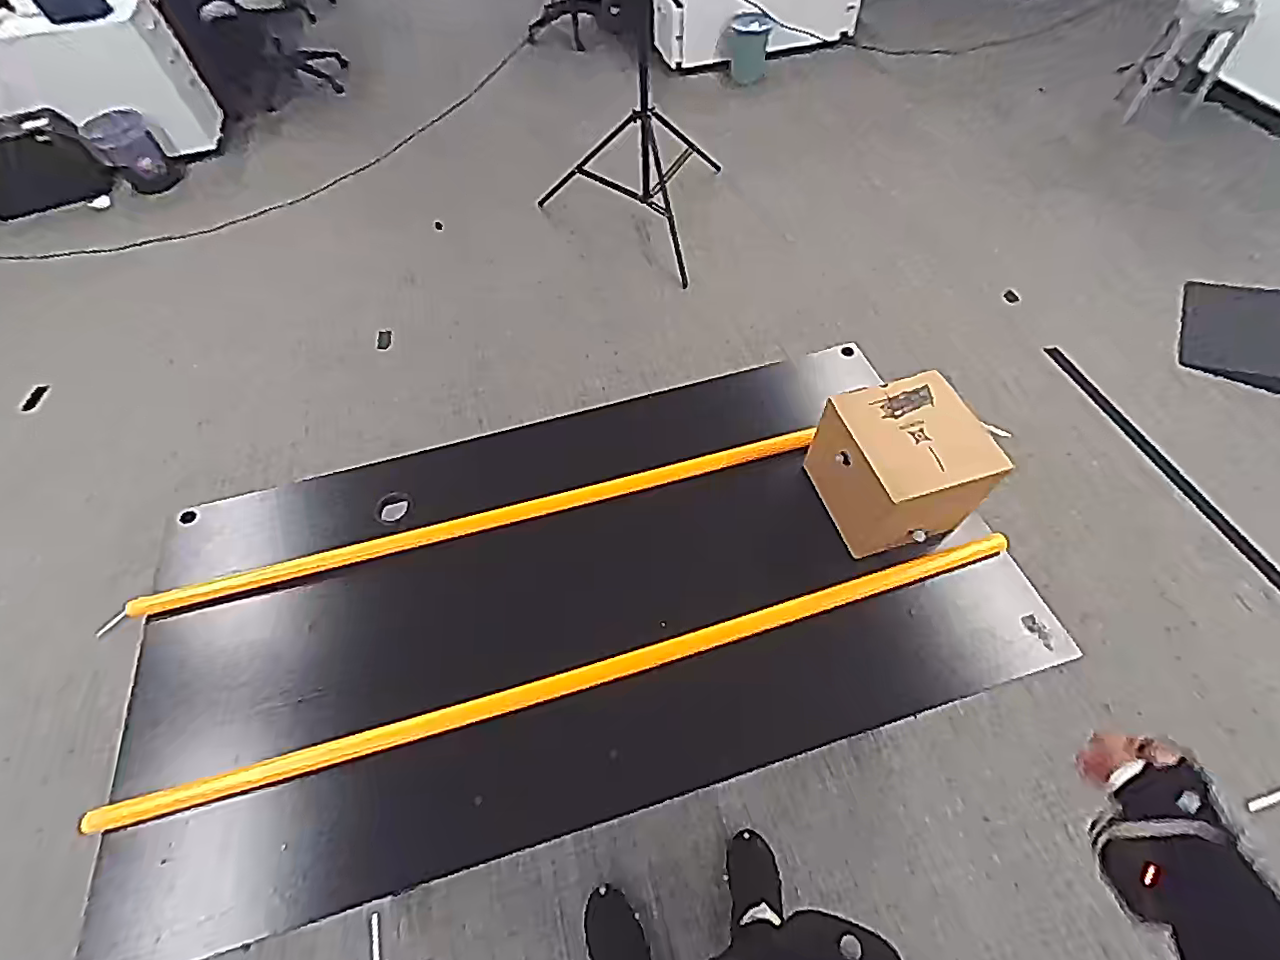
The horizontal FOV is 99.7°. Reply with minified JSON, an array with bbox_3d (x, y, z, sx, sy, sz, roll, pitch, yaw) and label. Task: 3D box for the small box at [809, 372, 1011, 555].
[{"bbox_3d":[0.361,-0.019,0.767,0.168,0.176,0.179,-15,59,-6],"label":"small box"}]
